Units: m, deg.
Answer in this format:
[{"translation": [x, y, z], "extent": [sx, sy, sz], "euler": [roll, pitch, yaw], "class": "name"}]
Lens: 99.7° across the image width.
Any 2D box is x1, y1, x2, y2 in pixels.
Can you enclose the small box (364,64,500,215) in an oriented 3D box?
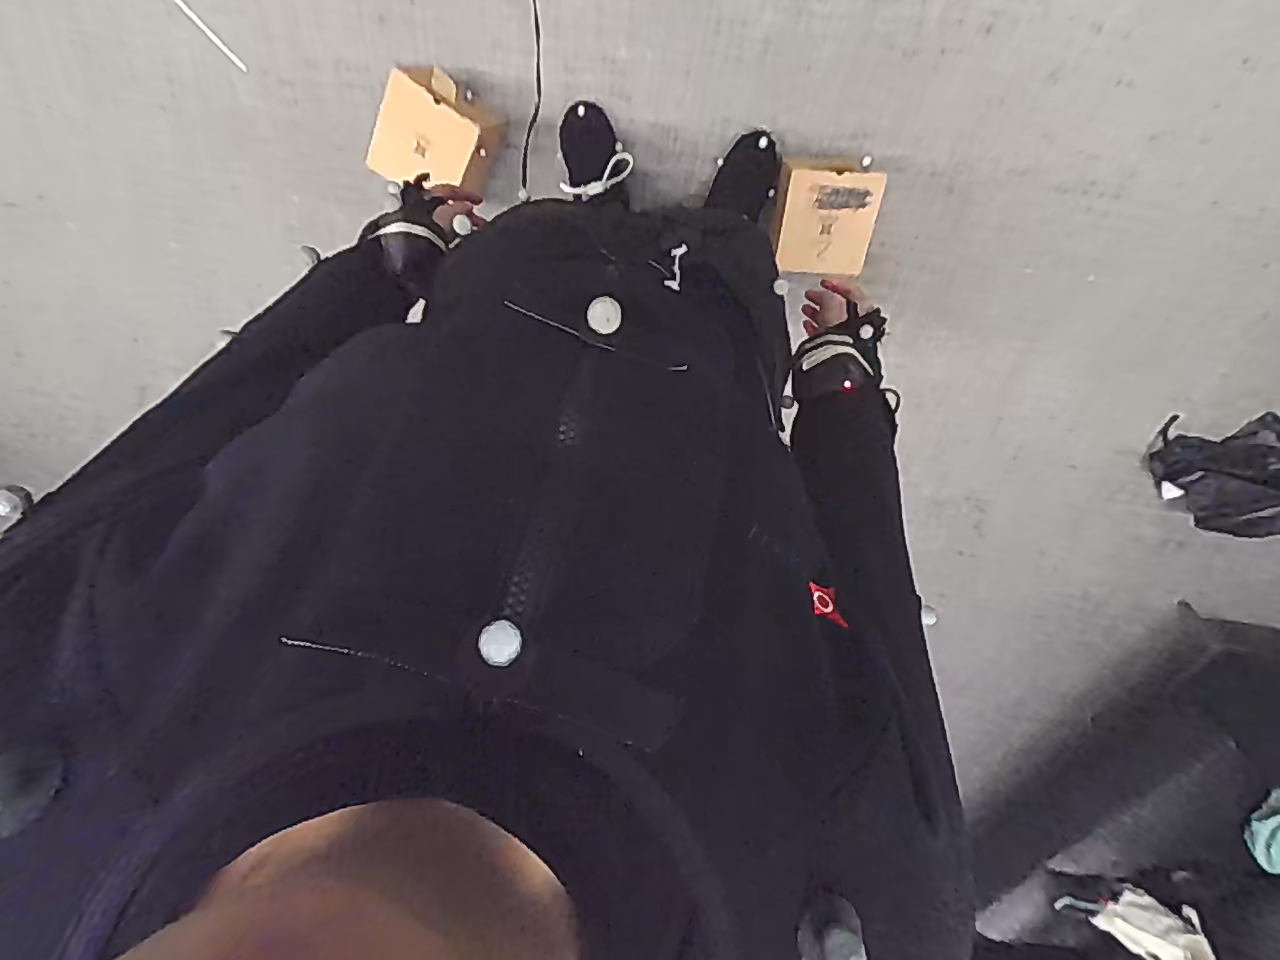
[{"translation": [-0.387, -0.645, 1.028], "extent": [0.168, 0.176, 0.179], "euler": [30, 125, -15], "class": "small box"}]
